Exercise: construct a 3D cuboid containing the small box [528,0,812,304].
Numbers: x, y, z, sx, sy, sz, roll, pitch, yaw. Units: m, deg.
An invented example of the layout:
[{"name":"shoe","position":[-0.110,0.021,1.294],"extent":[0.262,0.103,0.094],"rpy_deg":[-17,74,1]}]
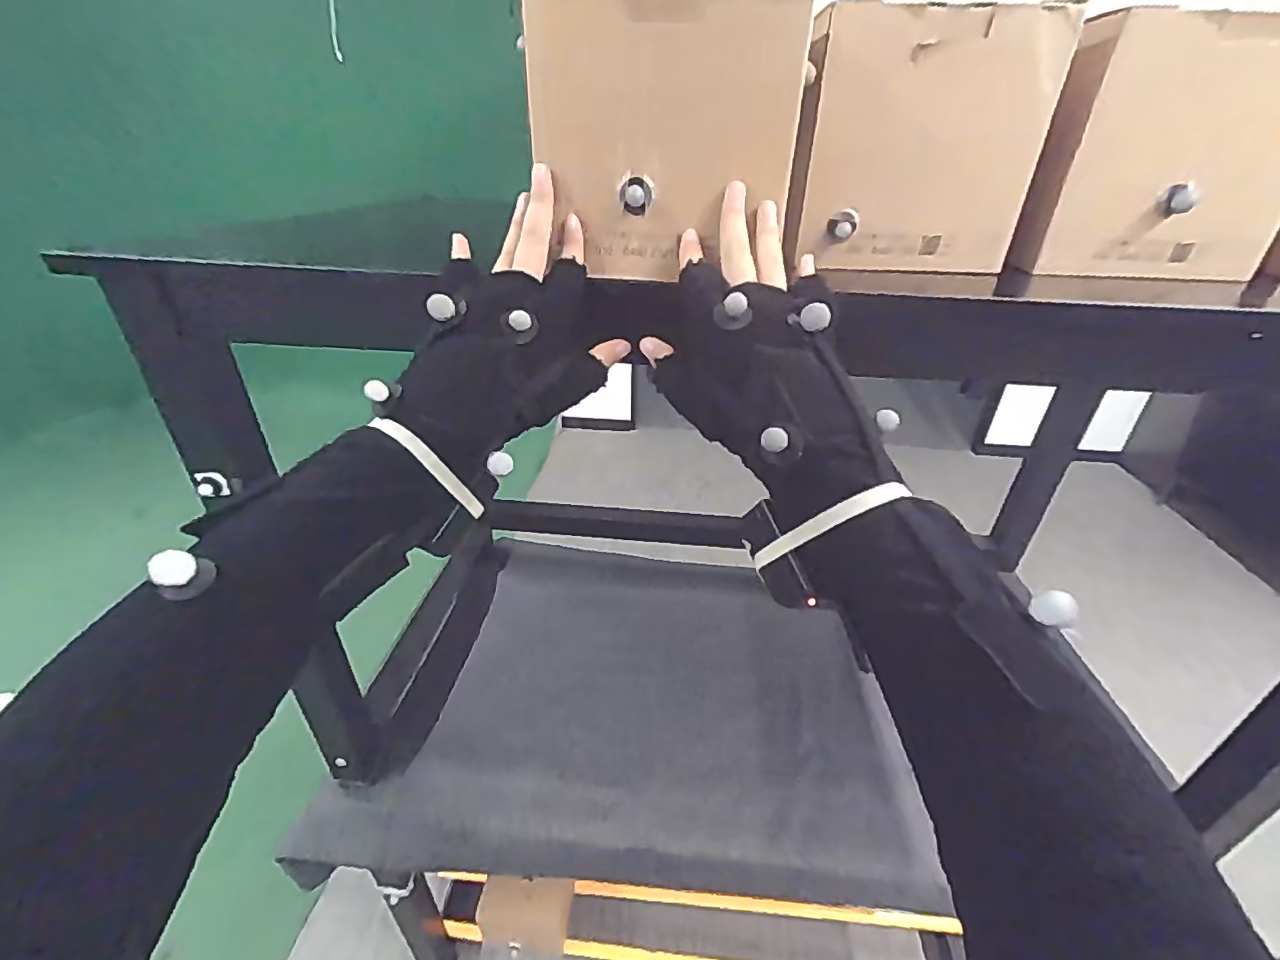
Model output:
[{"name":"small box","position":[0.022,-0.244,0.415],"extent":[0.168,0.176,0.179],"rpy_deg":[4,32,5]}]
